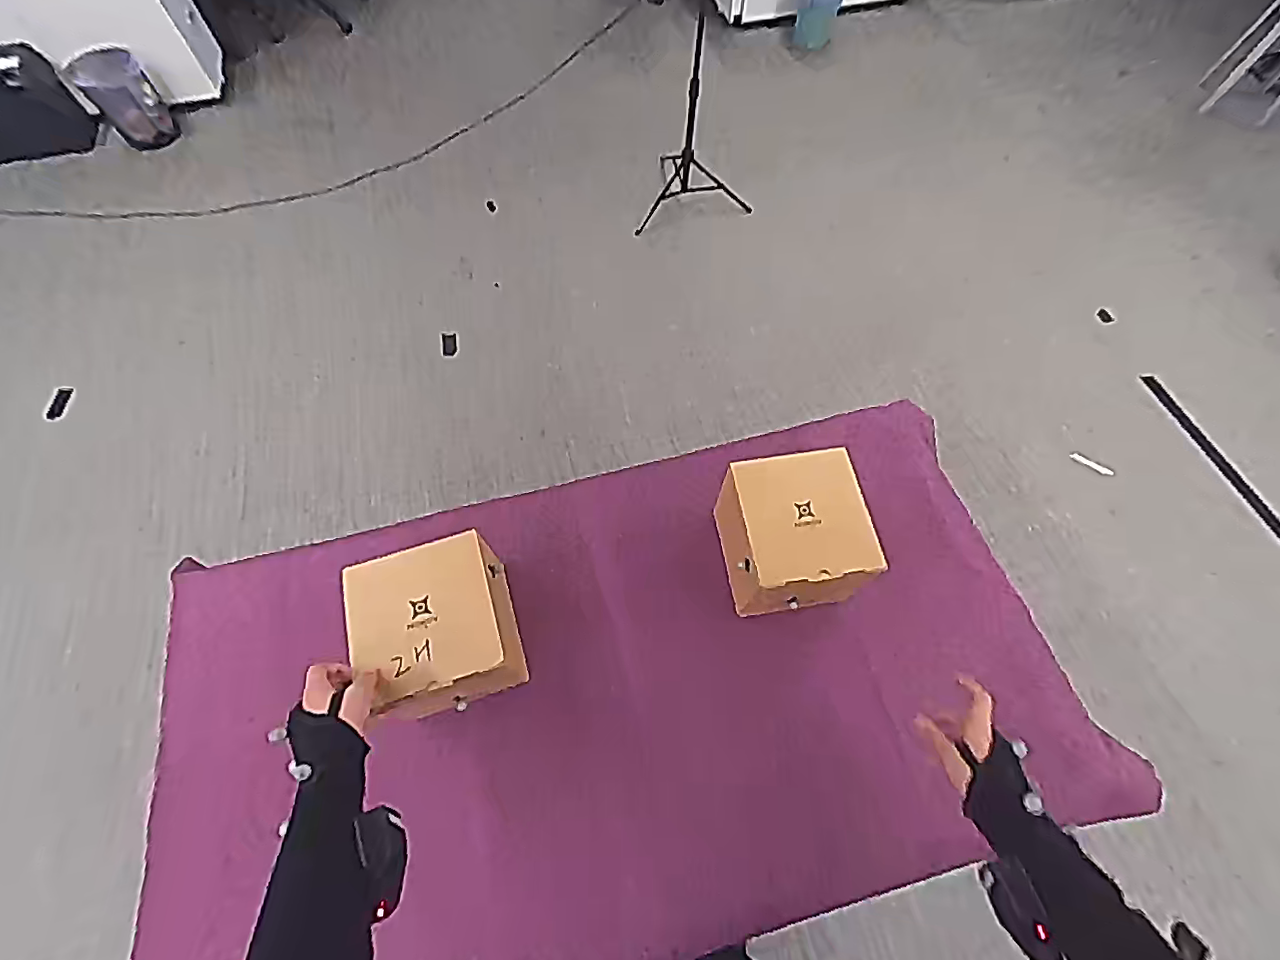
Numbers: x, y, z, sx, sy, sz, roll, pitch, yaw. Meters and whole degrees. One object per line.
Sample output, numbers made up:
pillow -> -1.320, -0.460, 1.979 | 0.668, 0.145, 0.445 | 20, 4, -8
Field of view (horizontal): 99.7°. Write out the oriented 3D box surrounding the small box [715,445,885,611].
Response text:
small box -> 0.211, 0.074, 0.774 | 0.168, 0.176, 0.179 | -8, 65, -4

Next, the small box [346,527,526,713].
small box -> -0.259, 0.189, 0.710 | 0.168, 0.176, 0.179 | -17, 65, -9
